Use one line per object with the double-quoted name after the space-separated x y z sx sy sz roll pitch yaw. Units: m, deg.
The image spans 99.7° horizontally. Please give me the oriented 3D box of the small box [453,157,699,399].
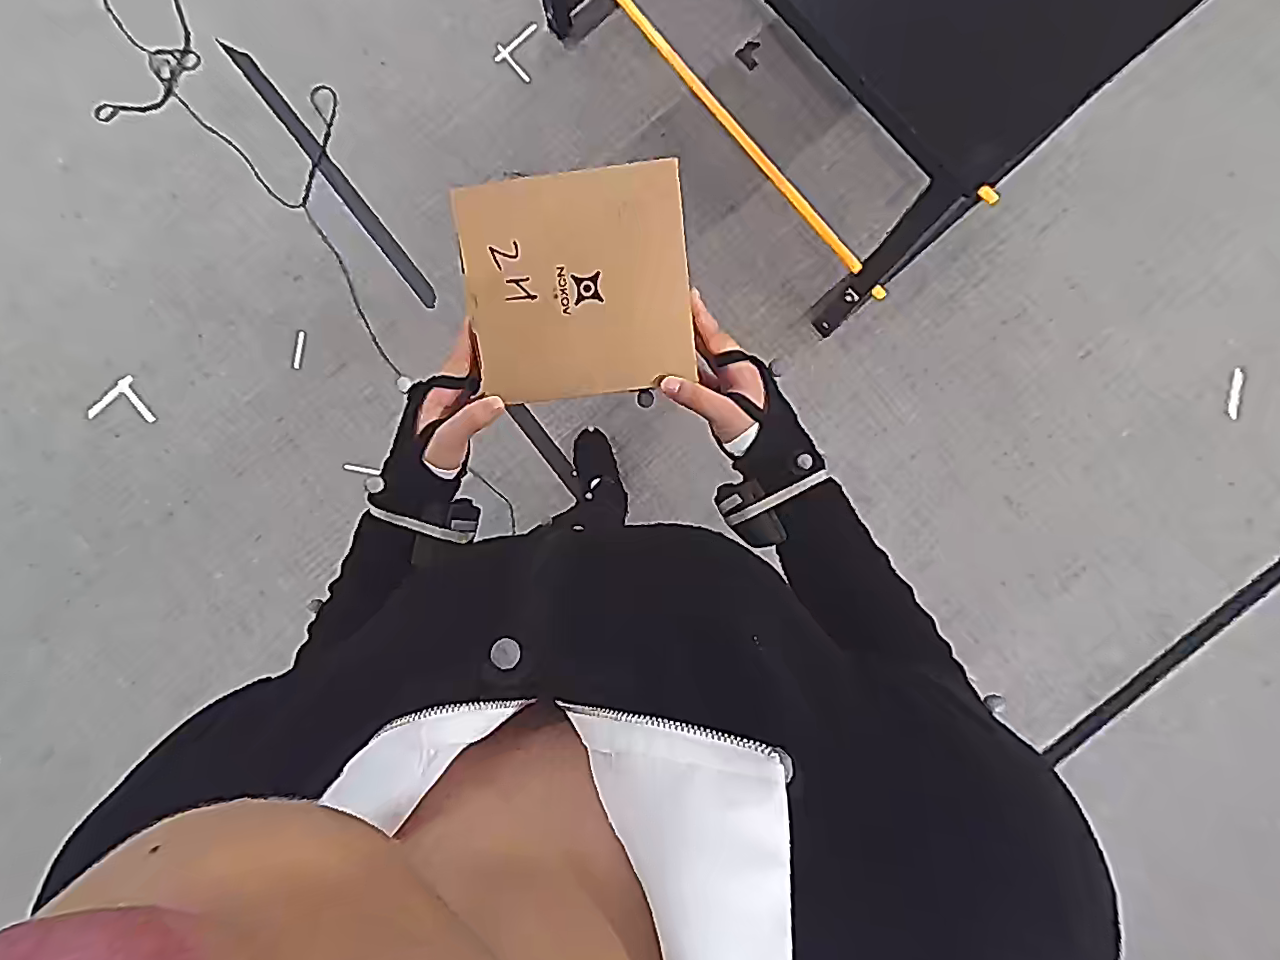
-0.046 -0.170 0.496 0.179 0.176 0.168 -6 102 3 "small box"
